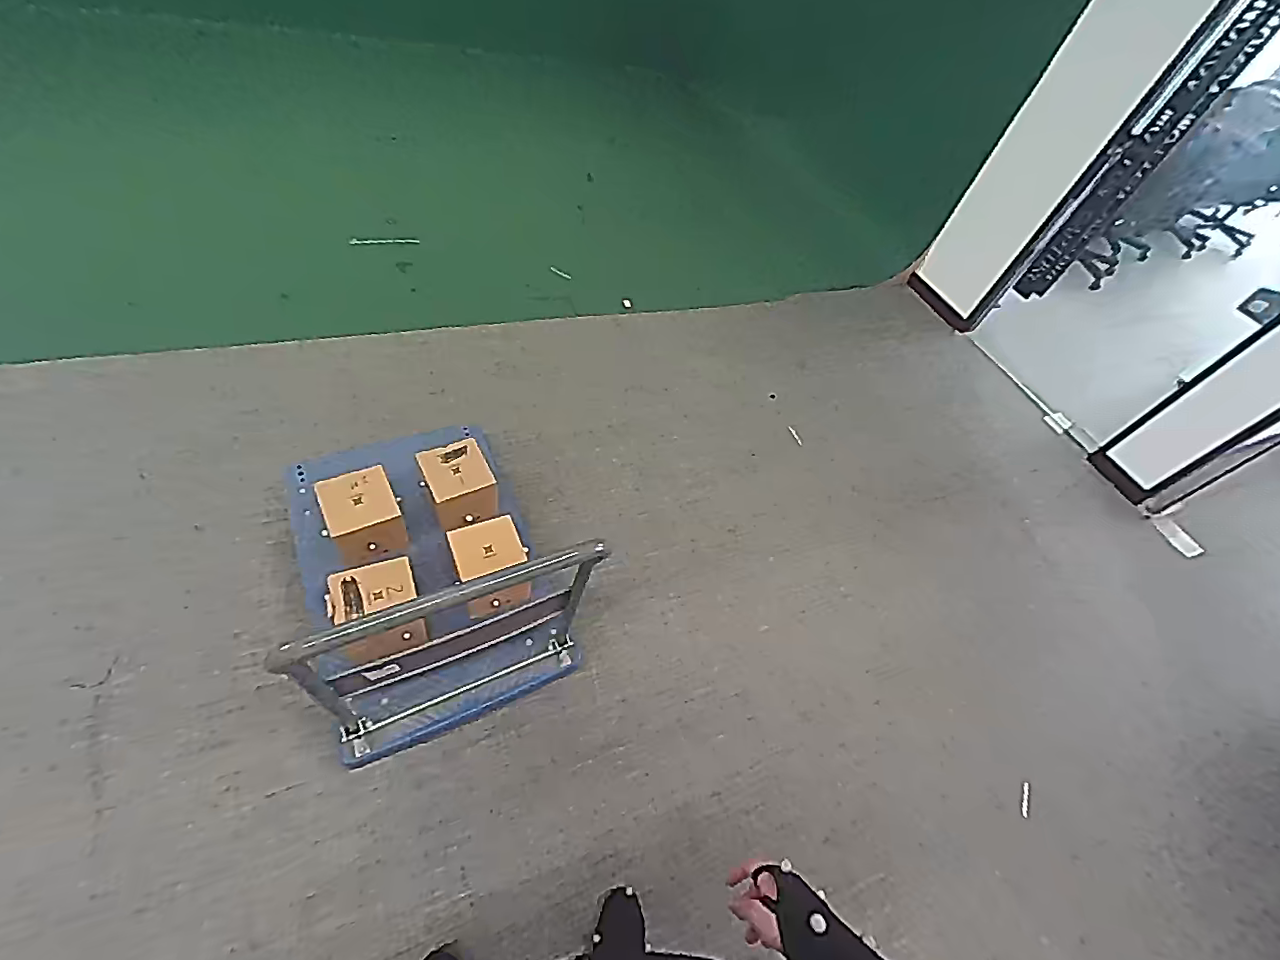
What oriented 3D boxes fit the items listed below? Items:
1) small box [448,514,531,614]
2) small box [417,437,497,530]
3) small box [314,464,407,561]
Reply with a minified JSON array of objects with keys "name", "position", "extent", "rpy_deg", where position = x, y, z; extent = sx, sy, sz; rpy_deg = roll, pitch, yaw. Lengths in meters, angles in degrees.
[{"name":"small box","position":[-0.395,0.221,1.410],"extent":[0.168,0.176,0.179],"rpy_deg":[-16,60,-24]},{"name":"small box","position":[-0.515,0.011,1.531],"extent":[0.168,0.176,0.179],"rpy_deg":[-21,63,-25]},{"name":"small box","position":[-0.726,0.092,1.420],"extent":[0.168,0.176,0.179],"rpy_deg":[-20,61,-27]}]
